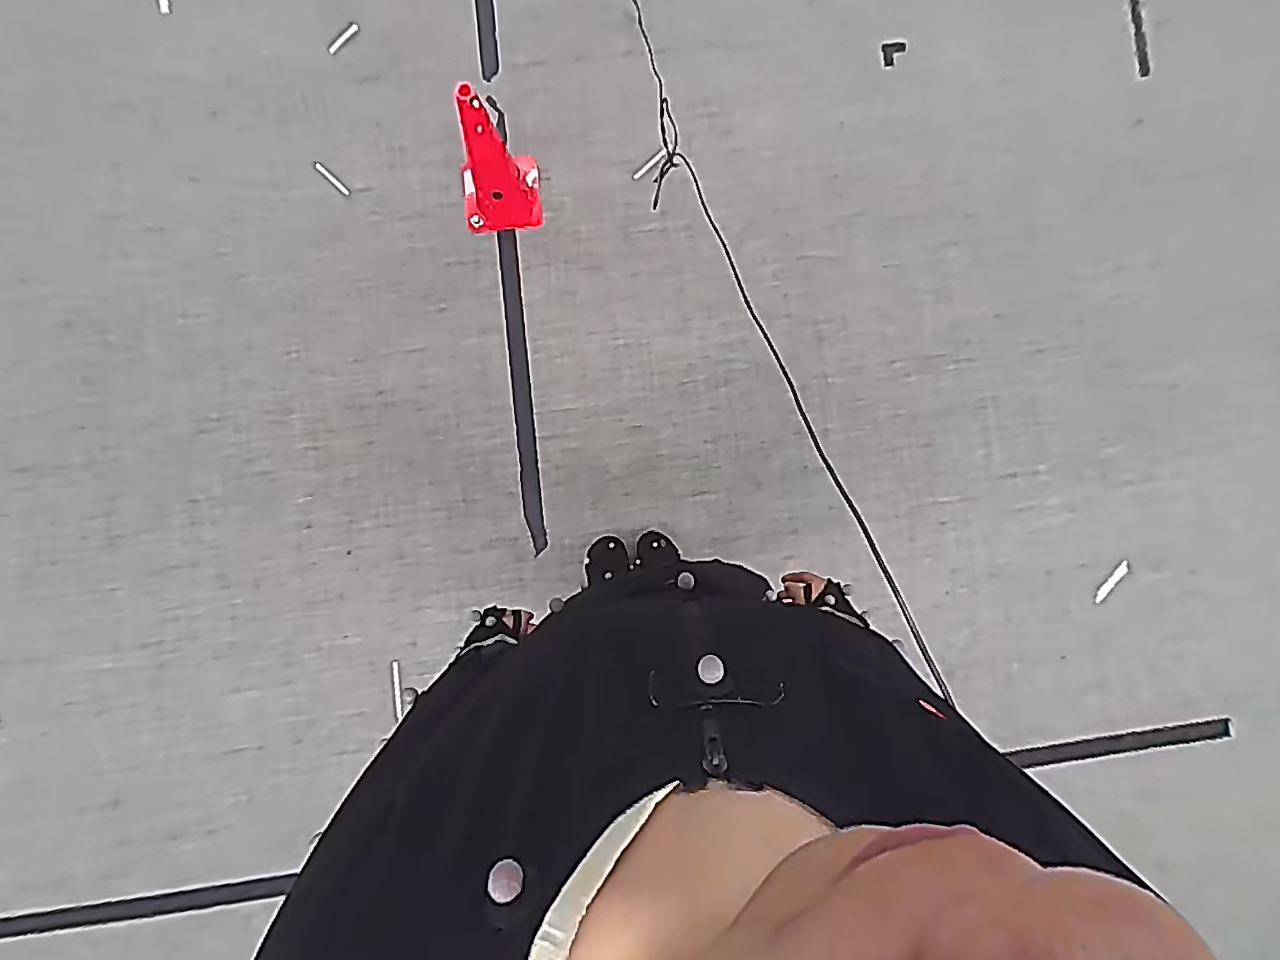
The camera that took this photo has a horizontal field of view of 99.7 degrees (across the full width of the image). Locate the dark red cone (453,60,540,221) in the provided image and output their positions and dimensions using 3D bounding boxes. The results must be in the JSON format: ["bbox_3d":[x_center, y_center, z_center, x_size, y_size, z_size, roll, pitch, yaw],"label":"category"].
[{"bbox_3d":[-0.360,-0.787,1.251,0.201,0.394,0.202,-7,86,-4],"label":"dark red cone"}]
